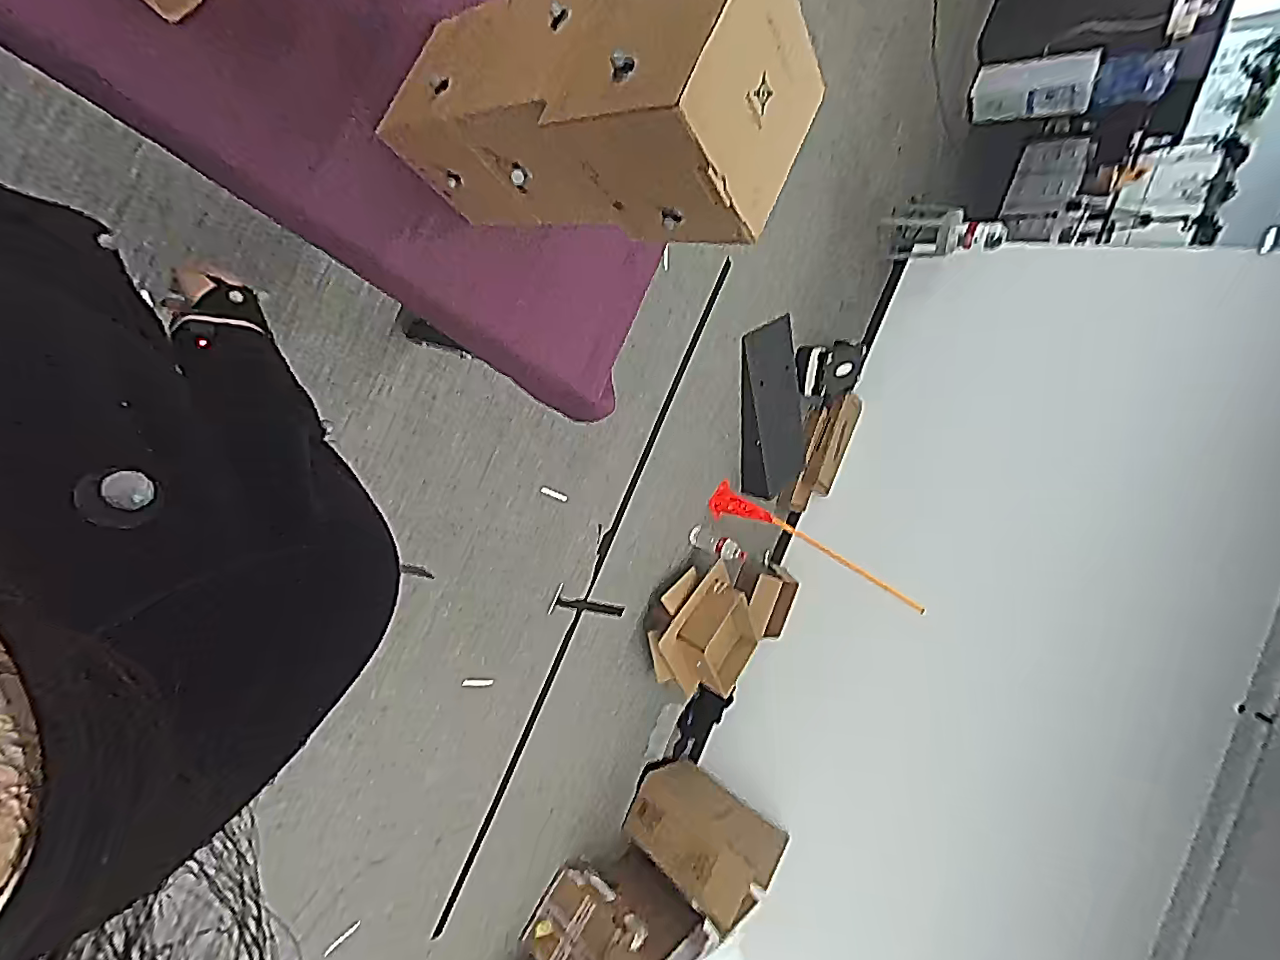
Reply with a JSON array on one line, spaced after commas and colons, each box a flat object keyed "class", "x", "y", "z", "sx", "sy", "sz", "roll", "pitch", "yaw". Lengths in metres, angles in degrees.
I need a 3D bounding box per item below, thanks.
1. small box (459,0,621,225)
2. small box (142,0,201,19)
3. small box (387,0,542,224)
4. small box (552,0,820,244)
[{"class": "small box", "x": -0.072, "y": -0.420, "z": 0.614, "sx": 0.168, "sy": 0.176, "sz": 0.179, "roll": 33, "pitch": 81, "yaw": -53}, {"class": "small box", "x": -0.403, "y": -0.521, "z": 0.425, "sx": 0.168, "sy": 0.176, "sz": 0.179, "roll": 30, "pitch": 81, "yaw": -53}, {"class": "small box", "x": -0.198, "y": -0.464, "z": 0.709, "sx": 0.168, "sy": 0.176, "sz": 0.179, "roll": 33, "pitch": 79, "yaw": -53}, {"class": "small box", "x": 0.042, "y": -0.353, "z": 0.518, "sx": 0.168, "sy": 0.176, "sz": 0.179, "roll": 28, "pitch": 84, "yaw": -54}]
